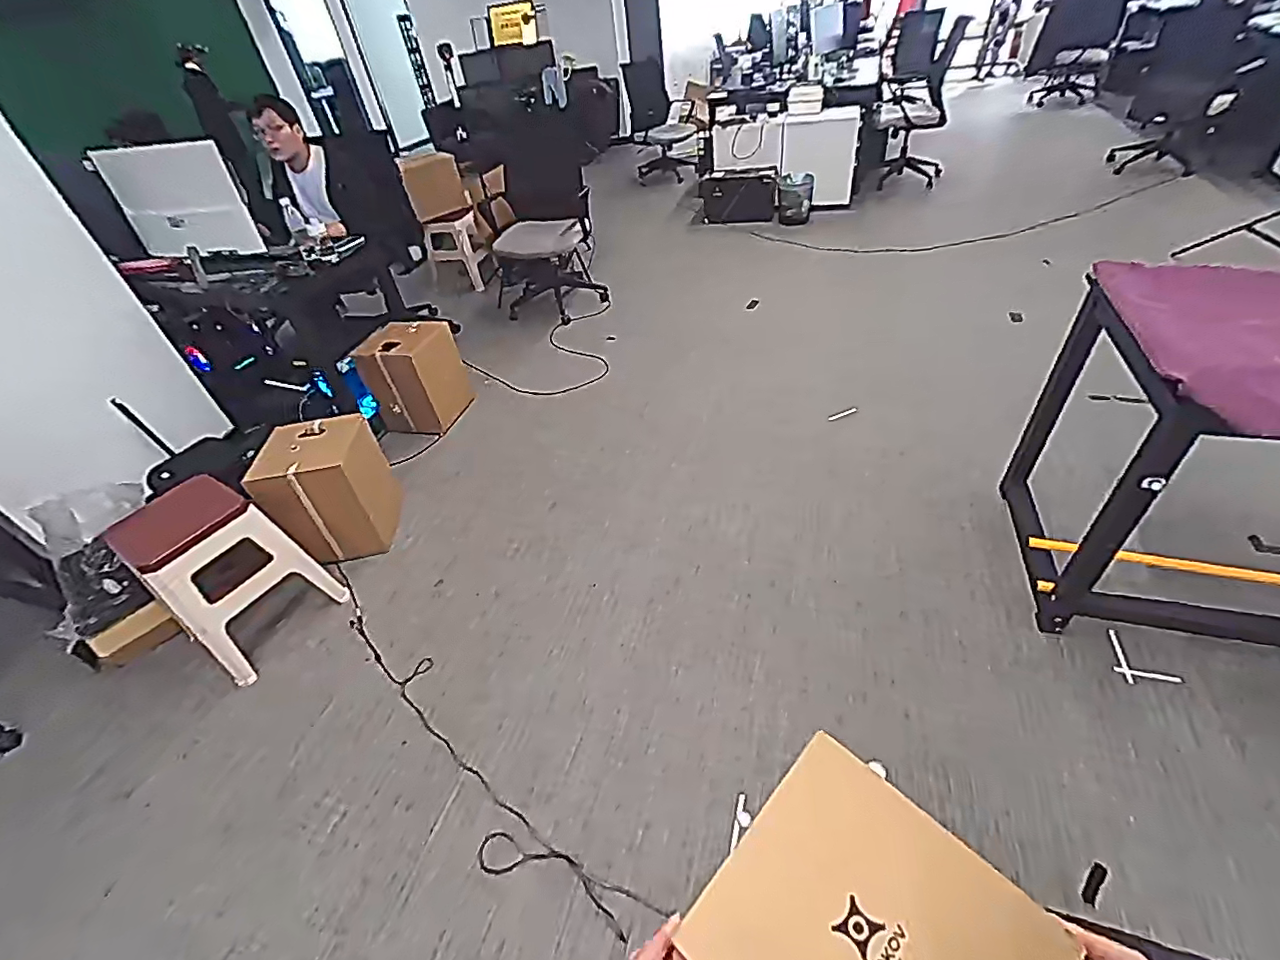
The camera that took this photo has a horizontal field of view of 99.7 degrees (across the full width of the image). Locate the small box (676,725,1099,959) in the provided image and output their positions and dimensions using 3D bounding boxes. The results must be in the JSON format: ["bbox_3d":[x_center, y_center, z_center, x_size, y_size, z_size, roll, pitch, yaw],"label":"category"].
[{"bbox_3d":[0.148,0.313,0.375,0.179,0.176,0.168,35,67,31],"label":"small box"}]
